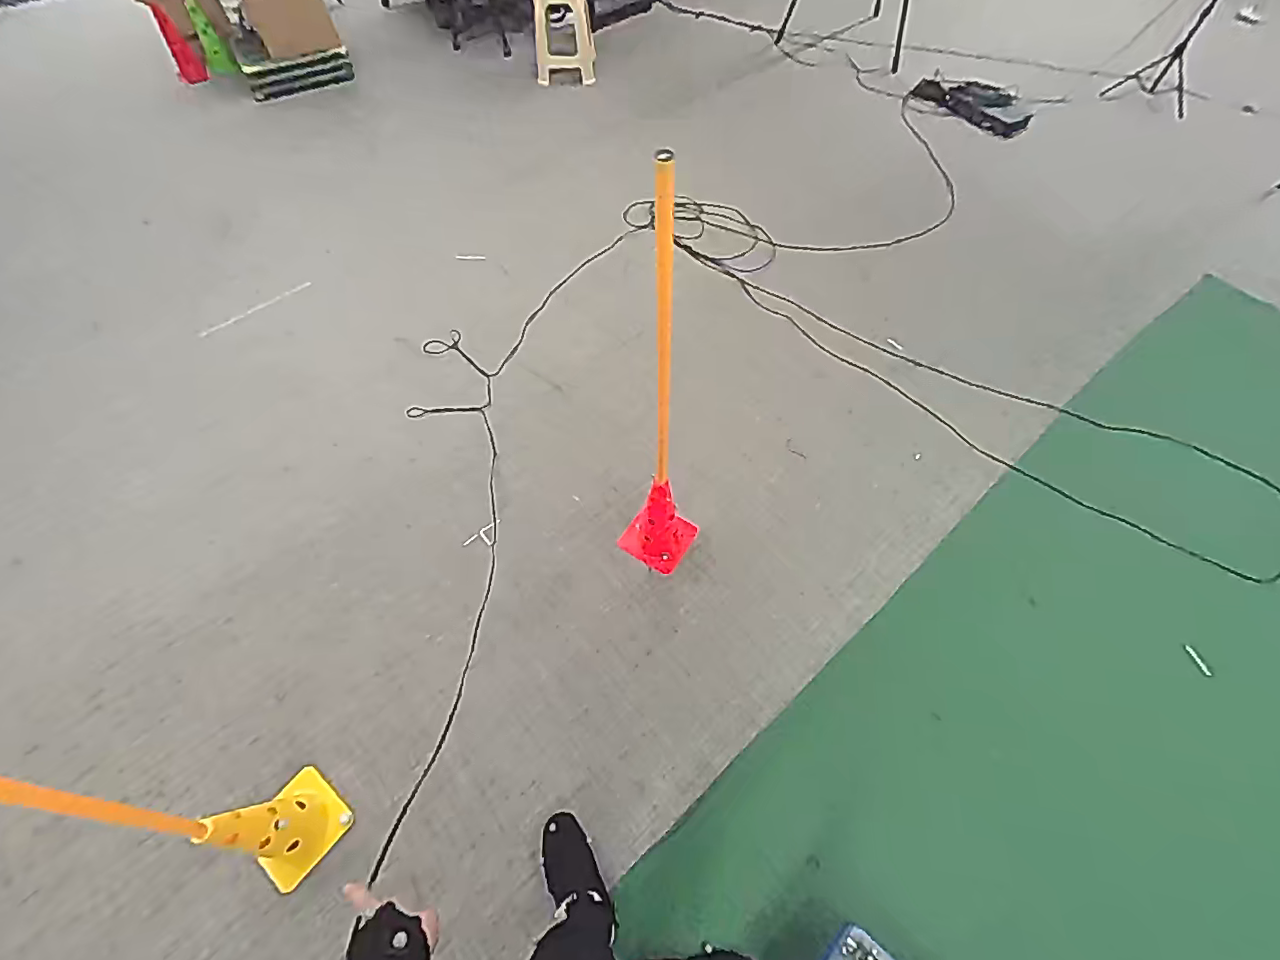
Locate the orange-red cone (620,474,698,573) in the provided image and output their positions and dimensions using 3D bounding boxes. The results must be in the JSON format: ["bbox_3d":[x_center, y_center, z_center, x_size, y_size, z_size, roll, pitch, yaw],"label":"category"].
[{"bbox_3d":[0.062,0.089,1.576,0.198,0.360,0.199,30,63,17],"label":"orange-red cone"}]
